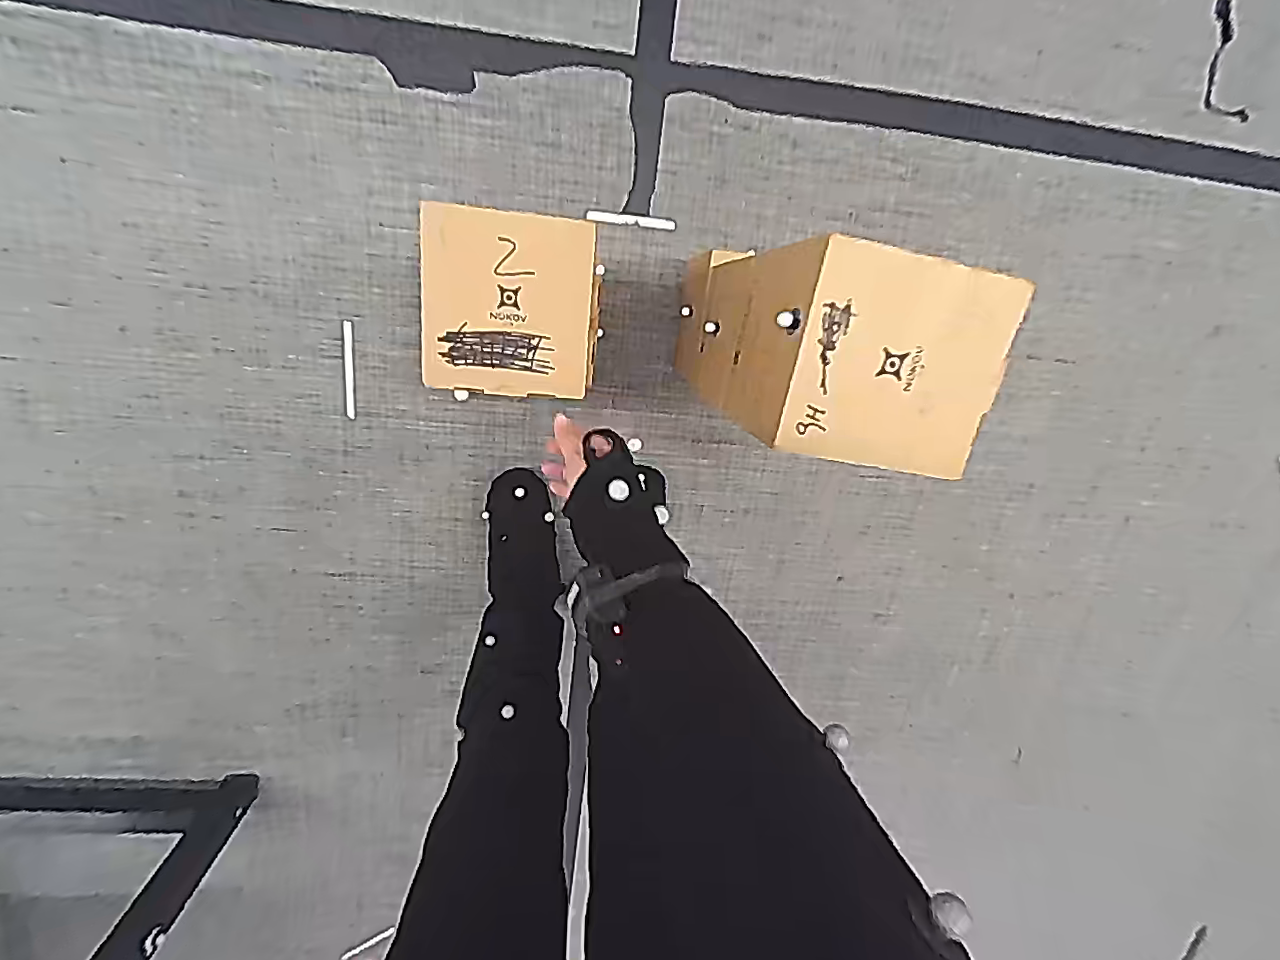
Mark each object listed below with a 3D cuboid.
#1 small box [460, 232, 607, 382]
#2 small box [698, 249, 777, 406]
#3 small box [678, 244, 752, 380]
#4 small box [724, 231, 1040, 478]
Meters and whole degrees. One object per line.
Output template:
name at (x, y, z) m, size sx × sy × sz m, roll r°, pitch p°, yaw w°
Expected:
small box at (-0.146, -0.238, 0.762) m, size 0.179 × 0.176 × 0.168 m, roll 5°, pitch 107°, yaw -9°
small box at (0.178, -0.170, 0.650) m, size 0.179 × 0.176 × 0.168 m, roll 5°, pitch 108°, yaw -10°
small box at (0.156, -0.238, 0.799) m, size 0.168 × 0.176 × 0.179 m, roll 3°, pitch 107°, yaw -9°
small box at (0.198, -0.115, 0.496) m, size 0.179 × 0.176 × 0.168 m, roll 9°, pitch 107°, yaw -11°
